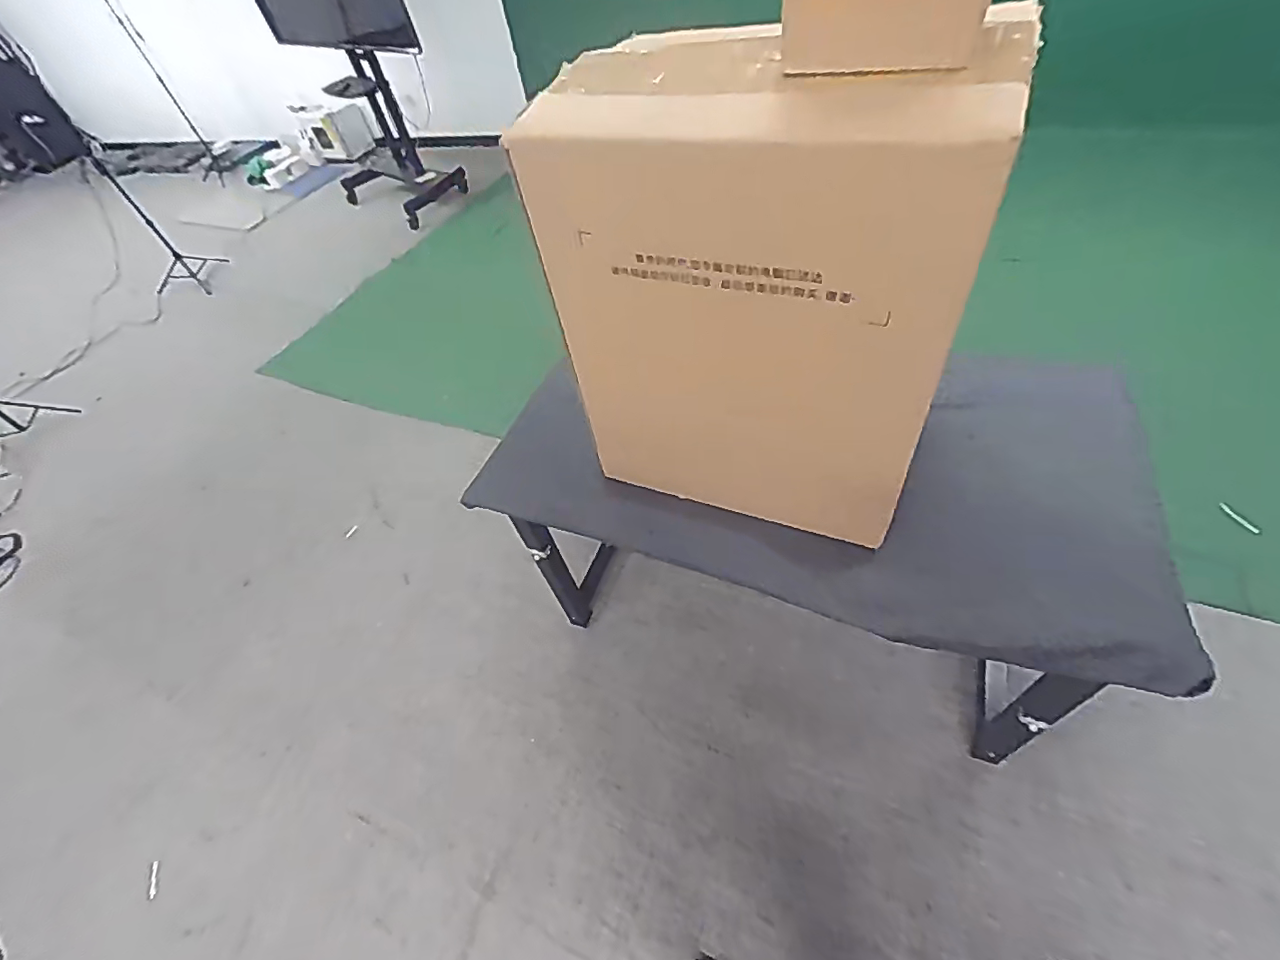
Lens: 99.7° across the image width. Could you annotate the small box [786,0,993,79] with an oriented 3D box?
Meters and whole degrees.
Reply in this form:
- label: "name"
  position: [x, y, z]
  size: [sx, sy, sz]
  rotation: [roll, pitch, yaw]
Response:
- label: "small box"
  position: [0.242, -0.503, 0.504]
  size: [0.179, 0.176, 0.168]
  rotation: [16, 62, 23]
